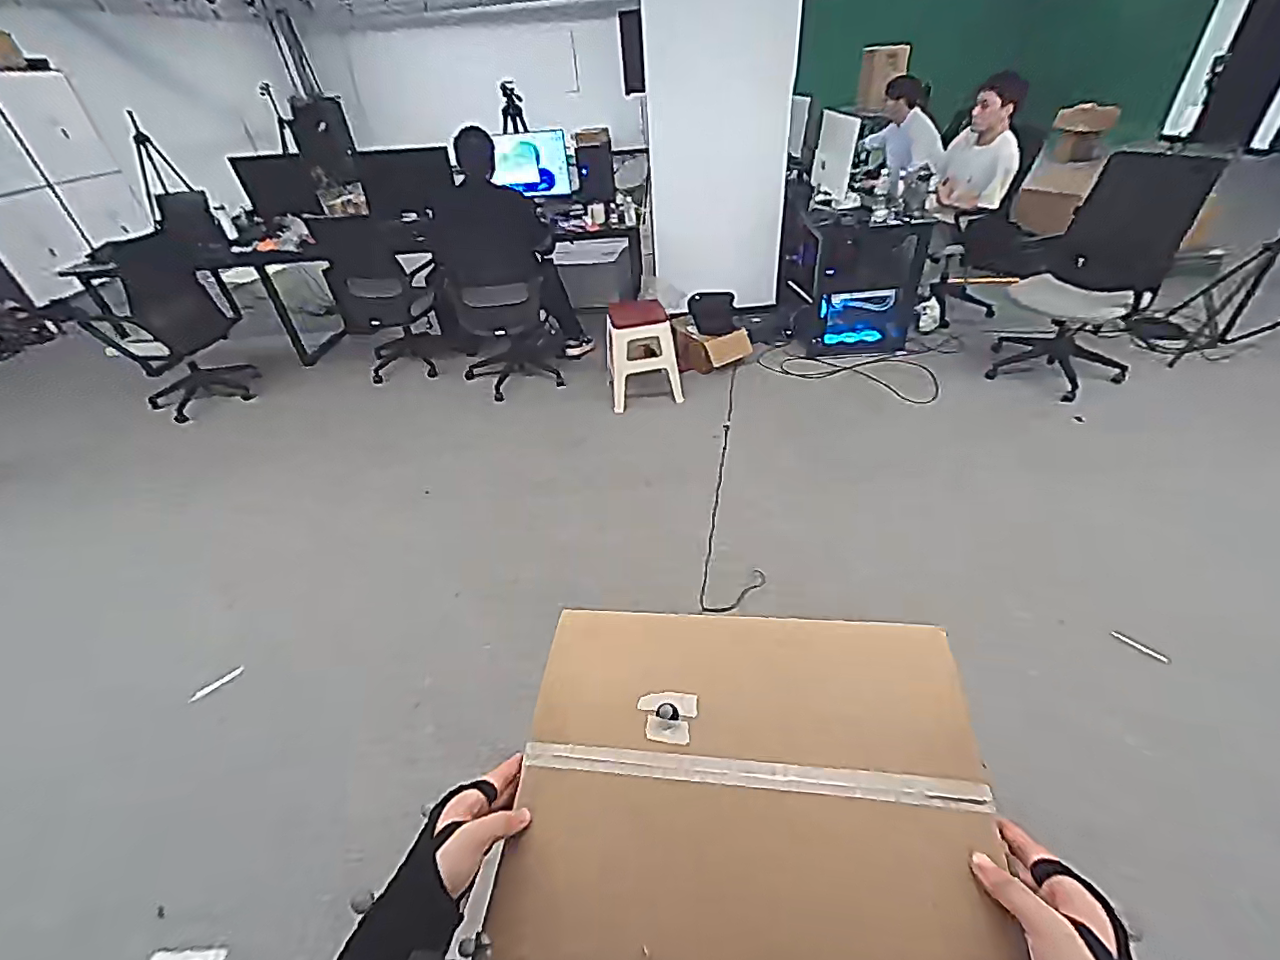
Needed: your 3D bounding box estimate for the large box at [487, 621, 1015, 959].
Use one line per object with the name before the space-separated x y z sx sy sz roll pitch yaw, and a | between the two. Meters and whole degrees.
large box | 0.112 0.370 0.602 0.408 0.320 0.320 -2 46 12
